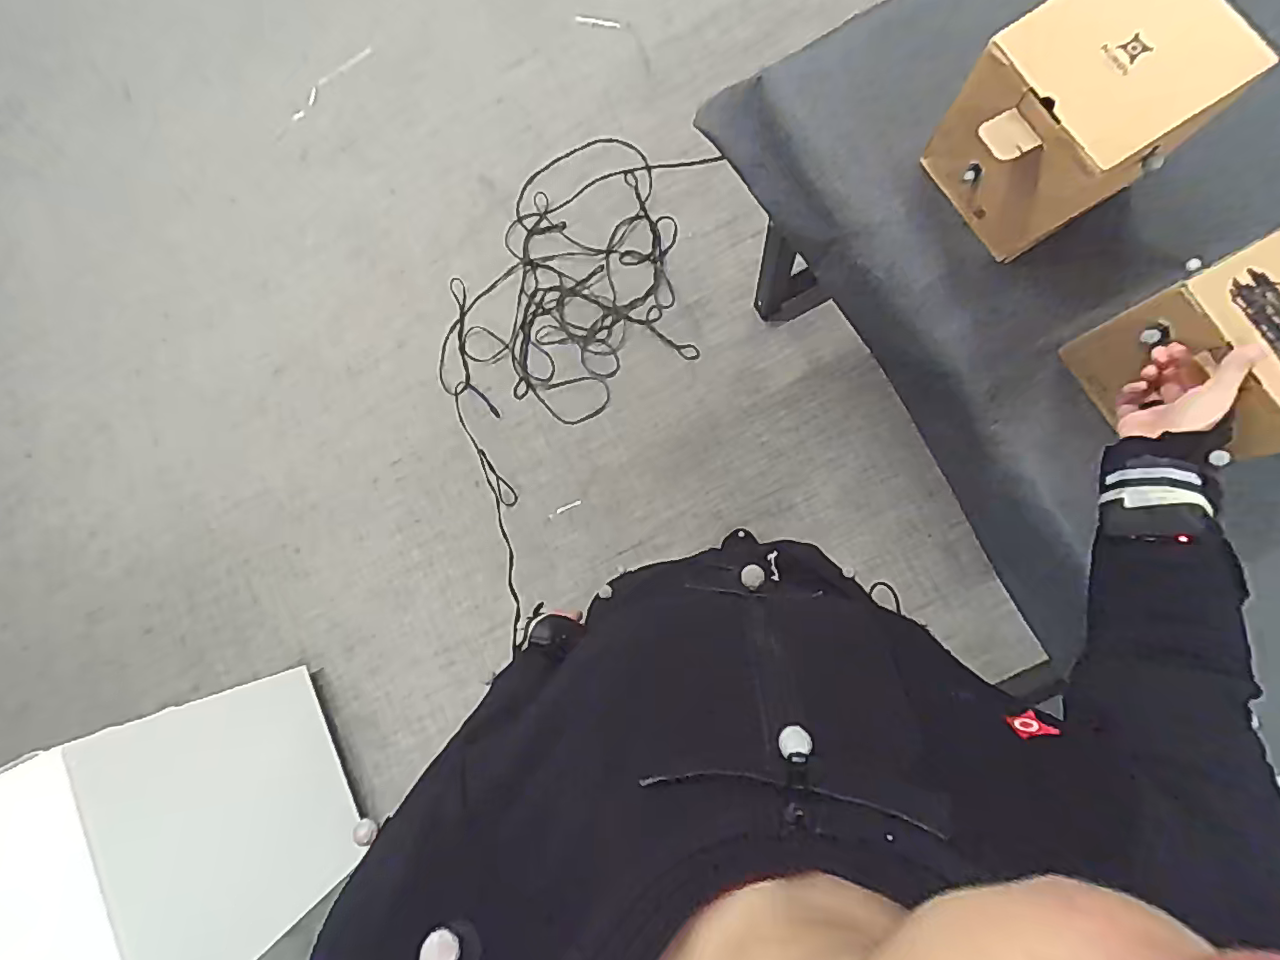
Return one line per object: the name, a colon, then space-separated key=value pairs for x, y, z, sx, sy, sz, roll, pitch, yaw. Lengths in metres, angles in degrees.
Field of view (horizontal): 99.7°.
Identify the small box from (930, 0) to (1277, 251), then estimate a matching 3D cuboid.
small box: x=0.449 y=-0.381 z=0.561 sx=0.179 sy=0.176 sz=0.168 roll=-32 pitch=82 yaw=4
